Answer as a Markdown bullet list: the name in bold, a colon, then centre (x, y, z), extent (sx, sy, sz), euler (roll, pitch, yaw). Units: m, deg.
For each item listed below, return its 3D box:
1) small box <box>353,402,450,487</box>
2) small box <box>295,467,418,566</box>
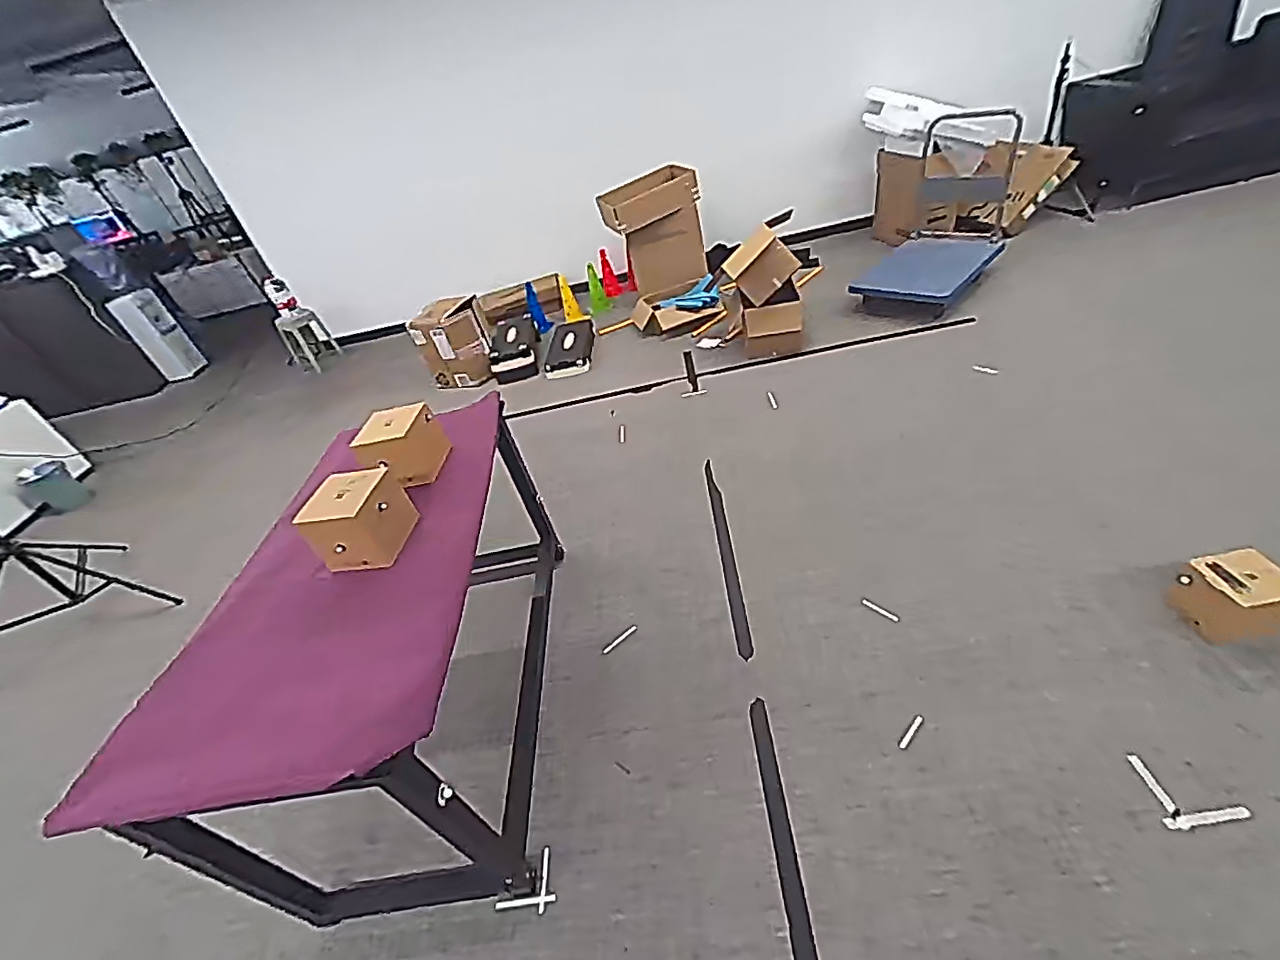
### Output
- **small box**: centre (-0.667, -0.092, 1.537), extent (0.168, 0.176, 0.179), euler (-10, 38, 9)
- **small box**: centre (-0.668, 0.094, 1.303), extent (0.168, 0.176, 0.179), euler (-6, 38, 11)
